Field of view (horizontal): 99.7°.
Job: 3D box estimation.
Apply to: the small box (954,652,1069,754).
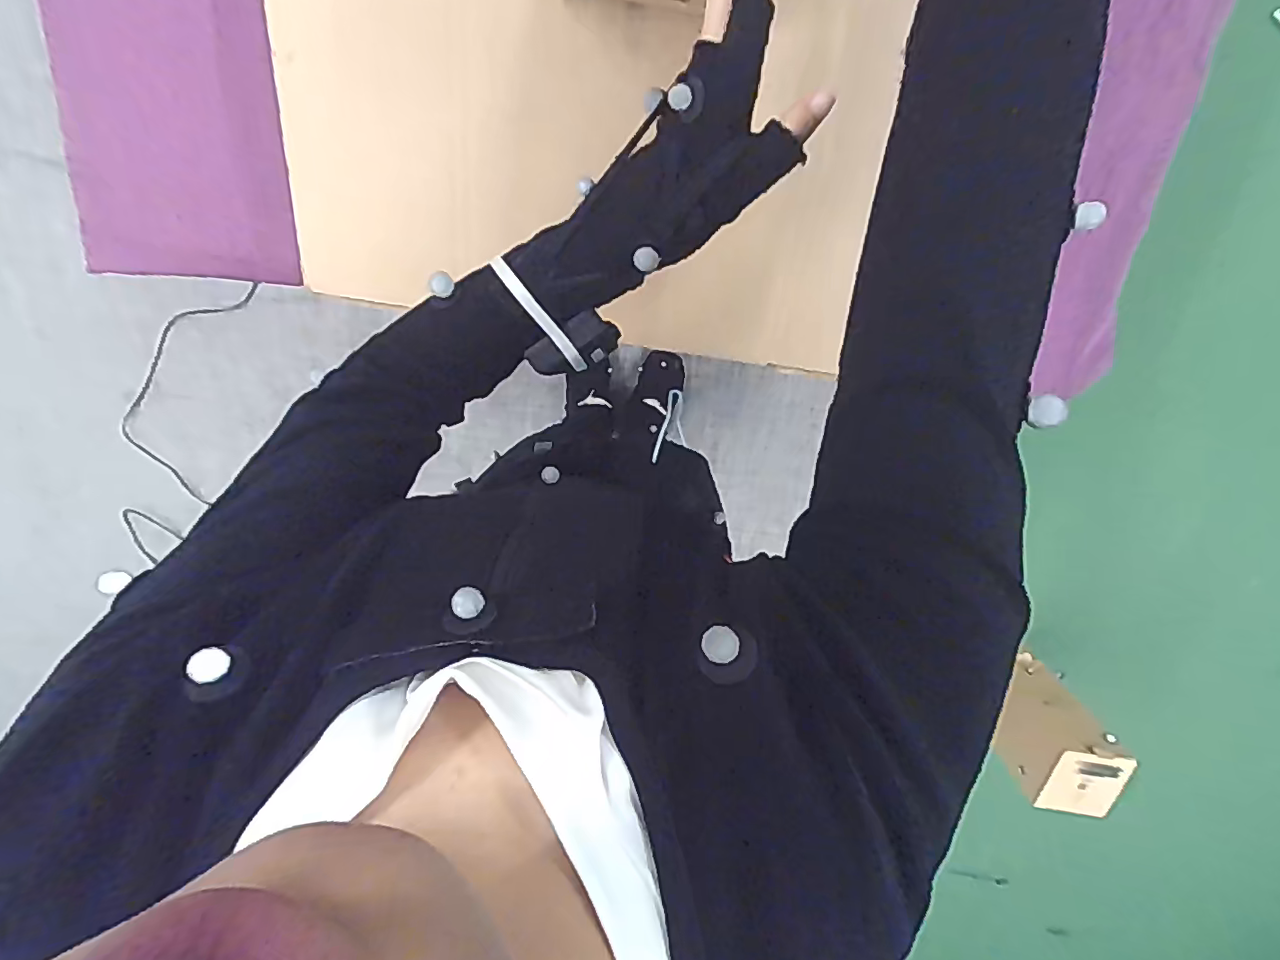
[{"bbox_3d":[0.982,0.594,1.450,0.168,0.176,0.179,9,110,-2],"label":"small box"}]
